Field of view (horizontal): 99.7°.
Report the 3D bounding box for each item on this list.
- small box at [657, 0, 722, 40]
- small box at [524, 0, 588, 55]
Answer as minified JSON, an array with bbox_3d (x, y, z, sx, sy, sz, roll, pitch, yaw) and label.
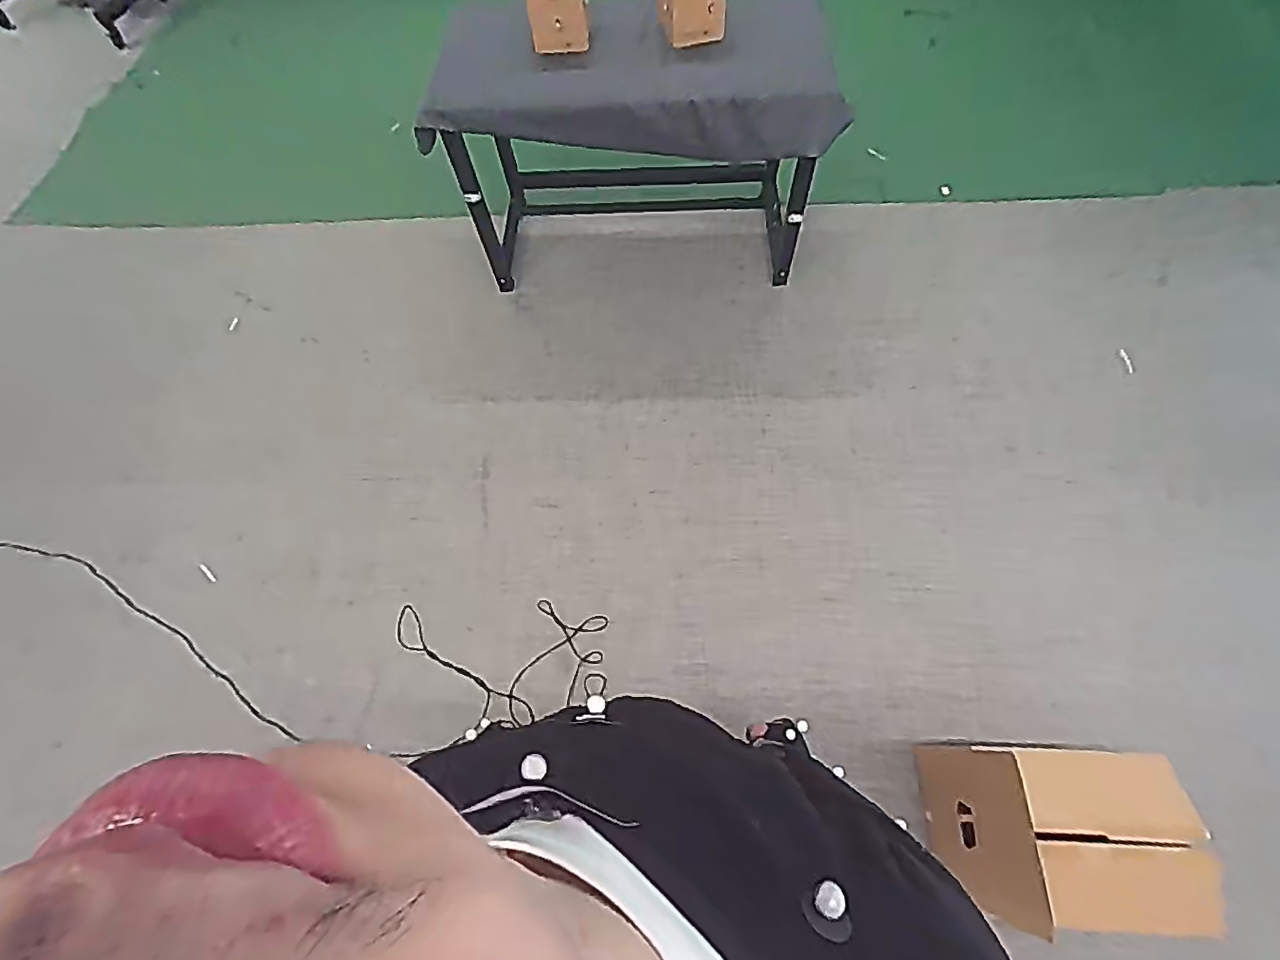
[{"bbox_3d":[0.148,-1.459,1.625,0.168,0.176,0.179,-12,64,-6],"label":"small box"},{"bbox_3d":[-0.255,-1.436,1.656,0.168,0.176,0.179,-6,63,1],"label":"small box"}]
